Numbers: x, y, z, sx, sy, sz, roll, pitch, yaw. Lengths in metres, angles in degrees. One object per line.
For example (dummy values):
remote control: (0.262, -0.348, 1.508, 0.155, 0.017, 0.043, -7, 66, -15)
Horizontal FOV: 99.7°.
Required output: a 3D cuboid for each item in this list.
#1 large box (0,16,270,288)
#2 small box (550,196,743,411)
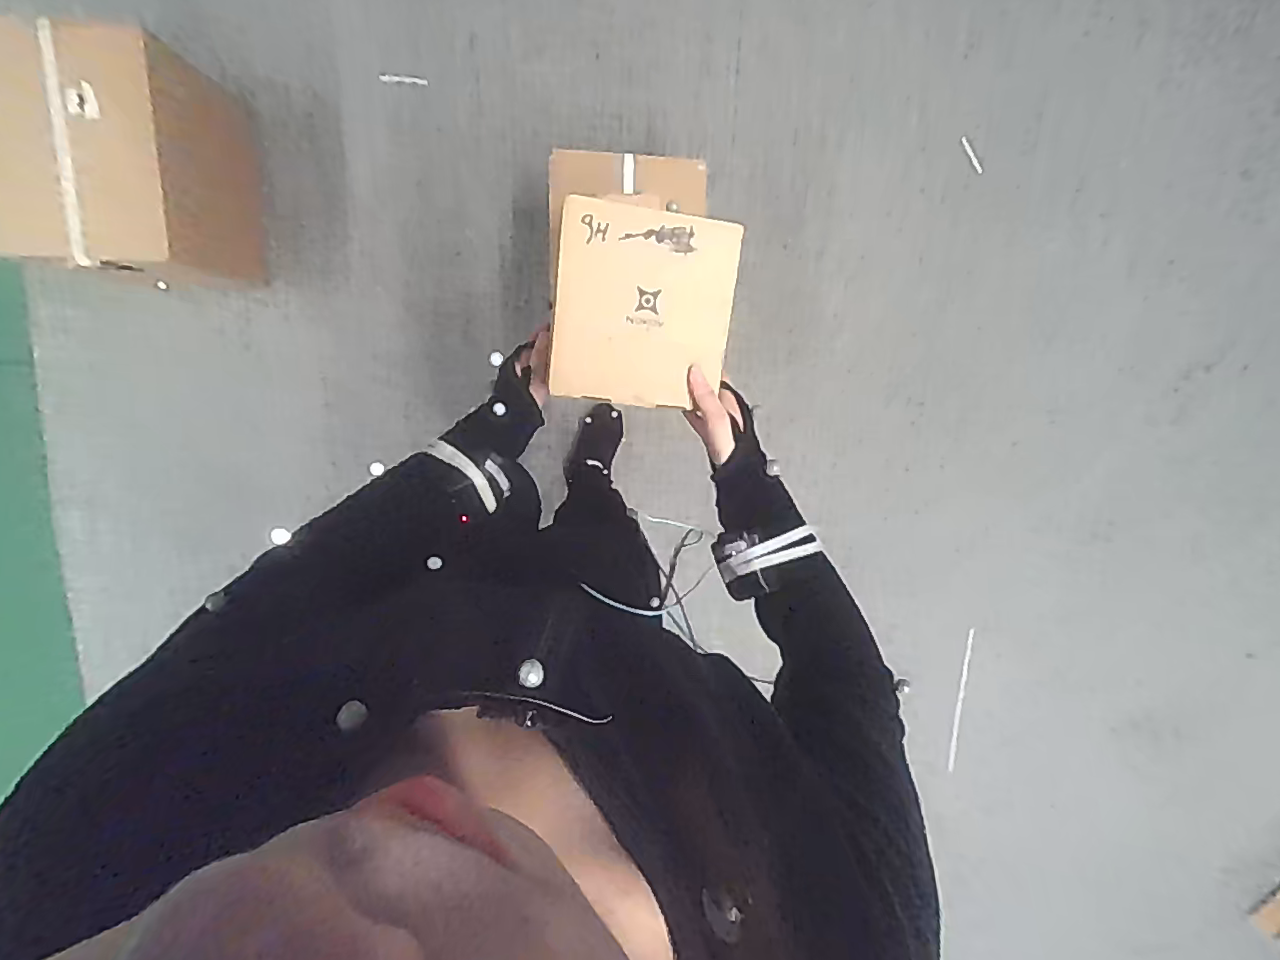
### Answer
large box: (-1.037, -0.638, 1.129, 0.320, 0.320, 0.408, 1, 99, -4)
small box: (-0.007, -0.180, 0.583, 0.168, 0.176, 0.179, 4, 105, -11)
